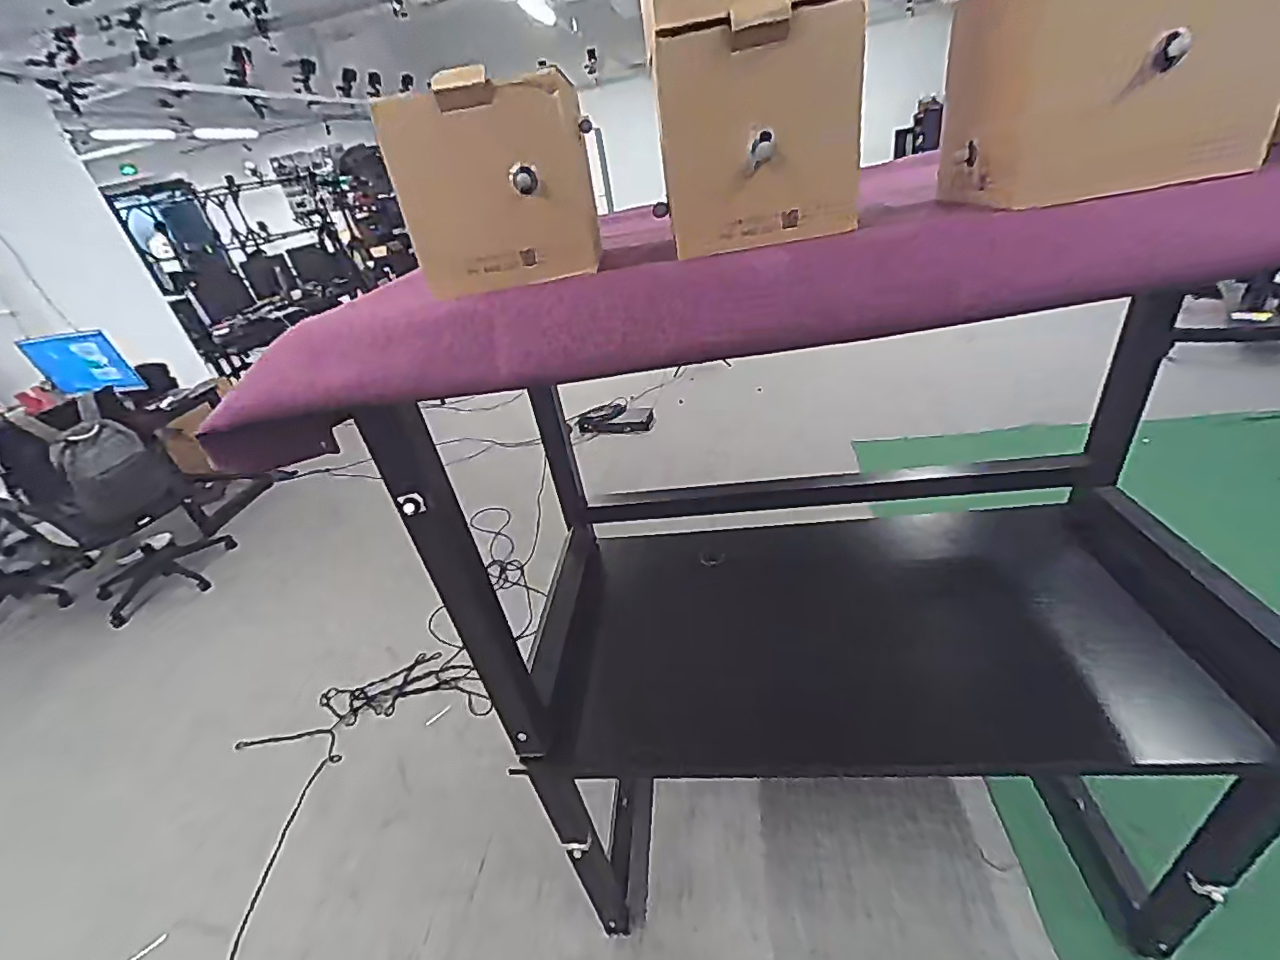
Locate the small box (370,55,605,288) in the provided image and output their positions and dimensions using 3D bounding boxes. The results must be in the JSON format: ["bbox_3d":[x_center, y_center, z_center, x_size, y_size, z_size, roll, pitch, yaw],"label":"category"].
[{"bbox_3d":[-0.132,-0.302,0.552,0.168,0.176,0.179,-7,30,4],"label":"small box"}]

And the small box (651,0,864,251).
[{"bbox_3d":[0.105,-0.328,0.522,0.168,0.176,0.179,-7,31,6],"label":"small box"}]

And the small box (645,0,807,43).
[{"bbox_3d":[0.080,-0.465,0.436,0.168,0.176,0.179,-8,29,5],"label":"small box"}]
